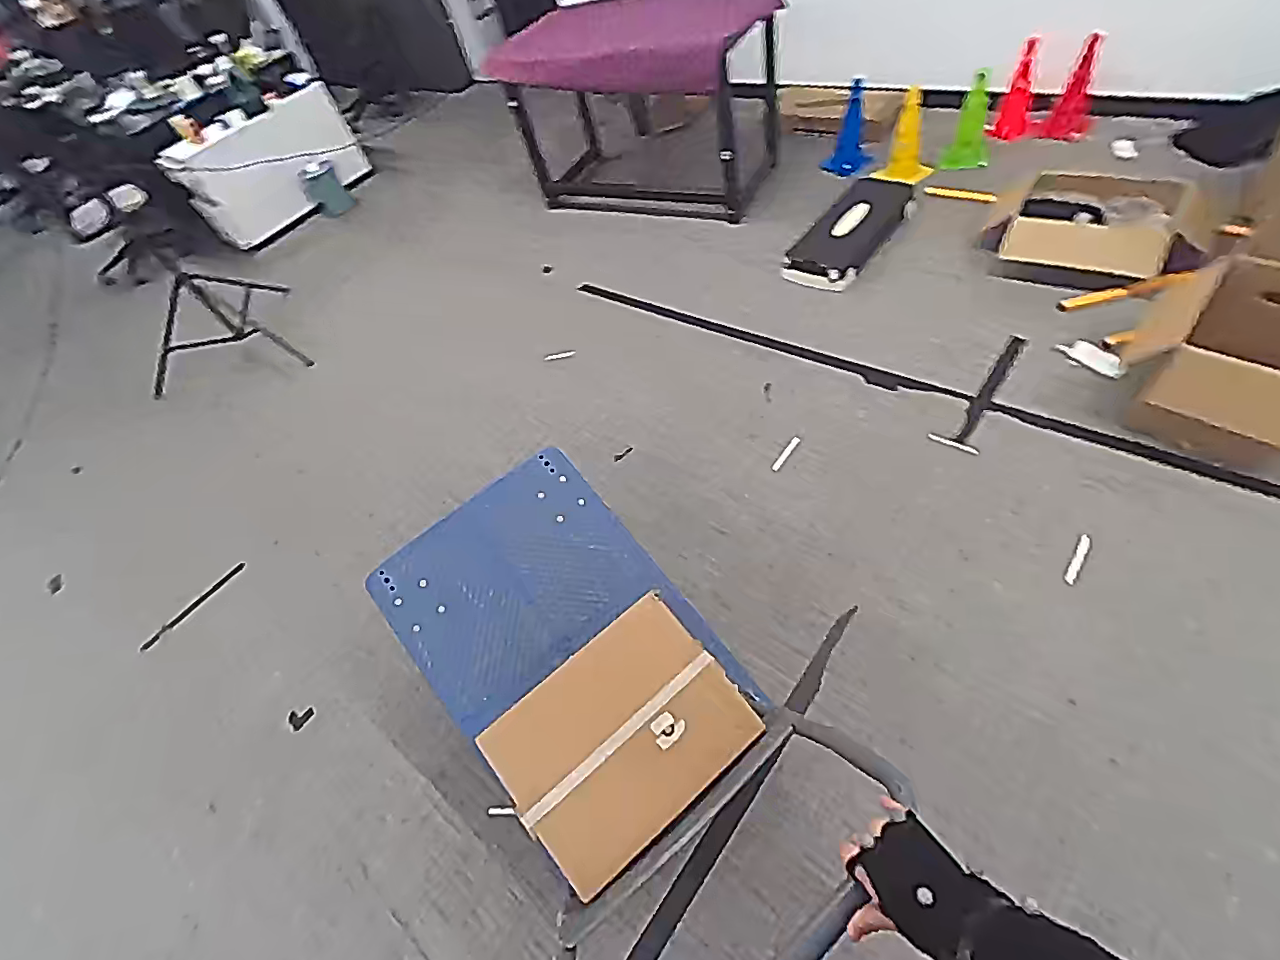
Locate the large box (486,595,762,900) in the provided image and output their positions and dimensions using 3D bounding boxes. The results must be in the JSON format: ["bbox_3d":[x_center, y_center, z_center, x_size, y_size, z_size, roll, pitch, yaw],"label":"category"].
[{"bbox_3d":[-0.030,0.501,1.089,0.408,0.320,0.320,-39,76,-15],"label":"large box"}]
